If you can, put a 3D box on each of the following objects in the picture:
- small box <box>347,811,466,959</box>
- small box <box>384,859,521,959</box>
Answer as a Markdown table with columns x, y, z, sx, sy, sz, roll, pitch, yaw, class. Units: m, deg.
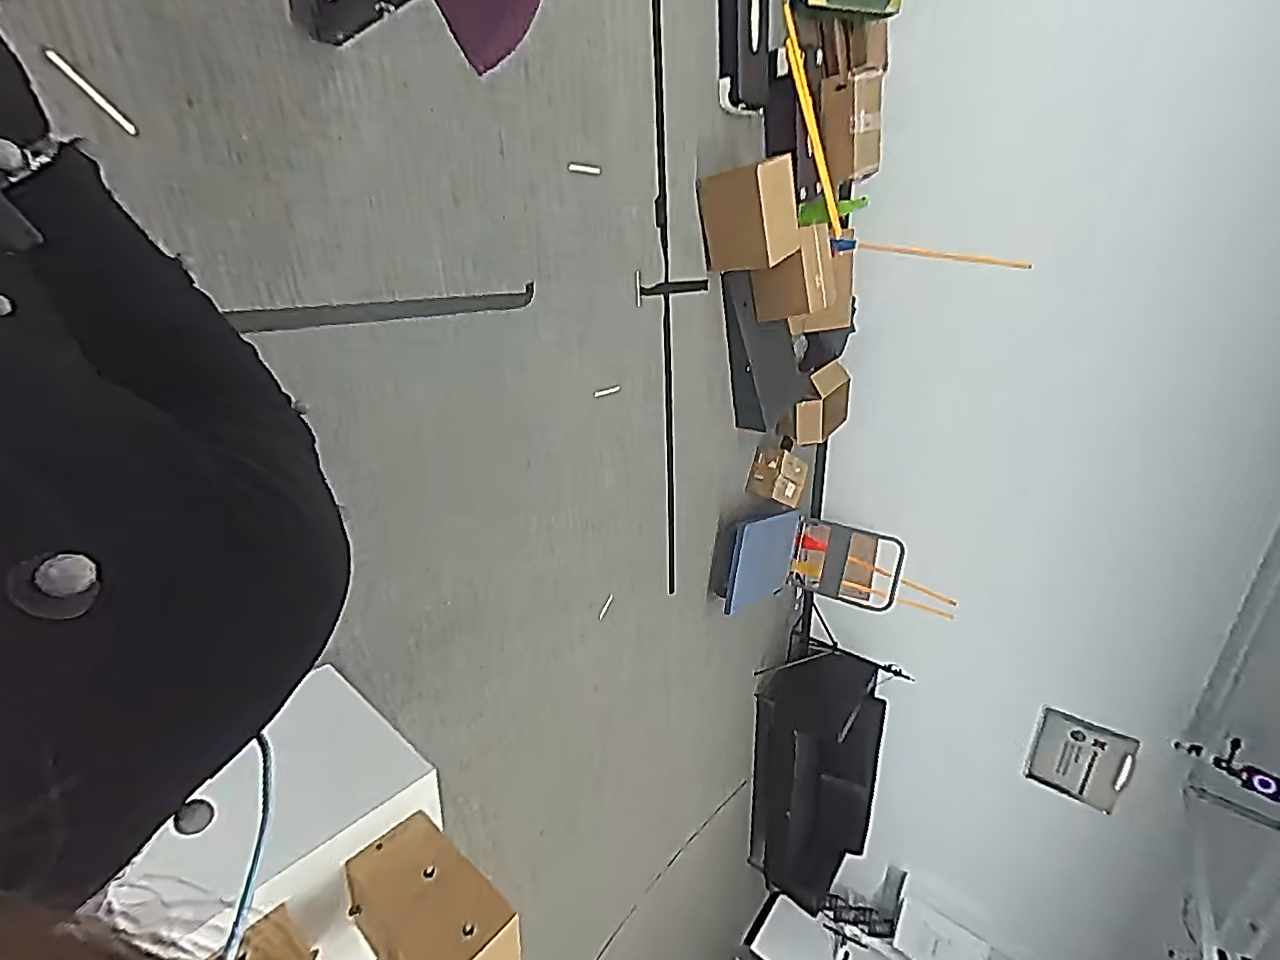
| x | y | z | sx | sy | sz | roll | pitch | yaw | class |
| --- | --- | --- | --- | --- | --- | --- | --- | --- | --- |
| -0.470 | 0.829 | 1.099 | 0.168 | 0.176 | 0.179 | -19 | 118 | -48 | small box |
| -0.343 | 0.861 | 1.000 | 0.179 | 0.176 | 0.168 | -19 | 116 | -48 | small box |
